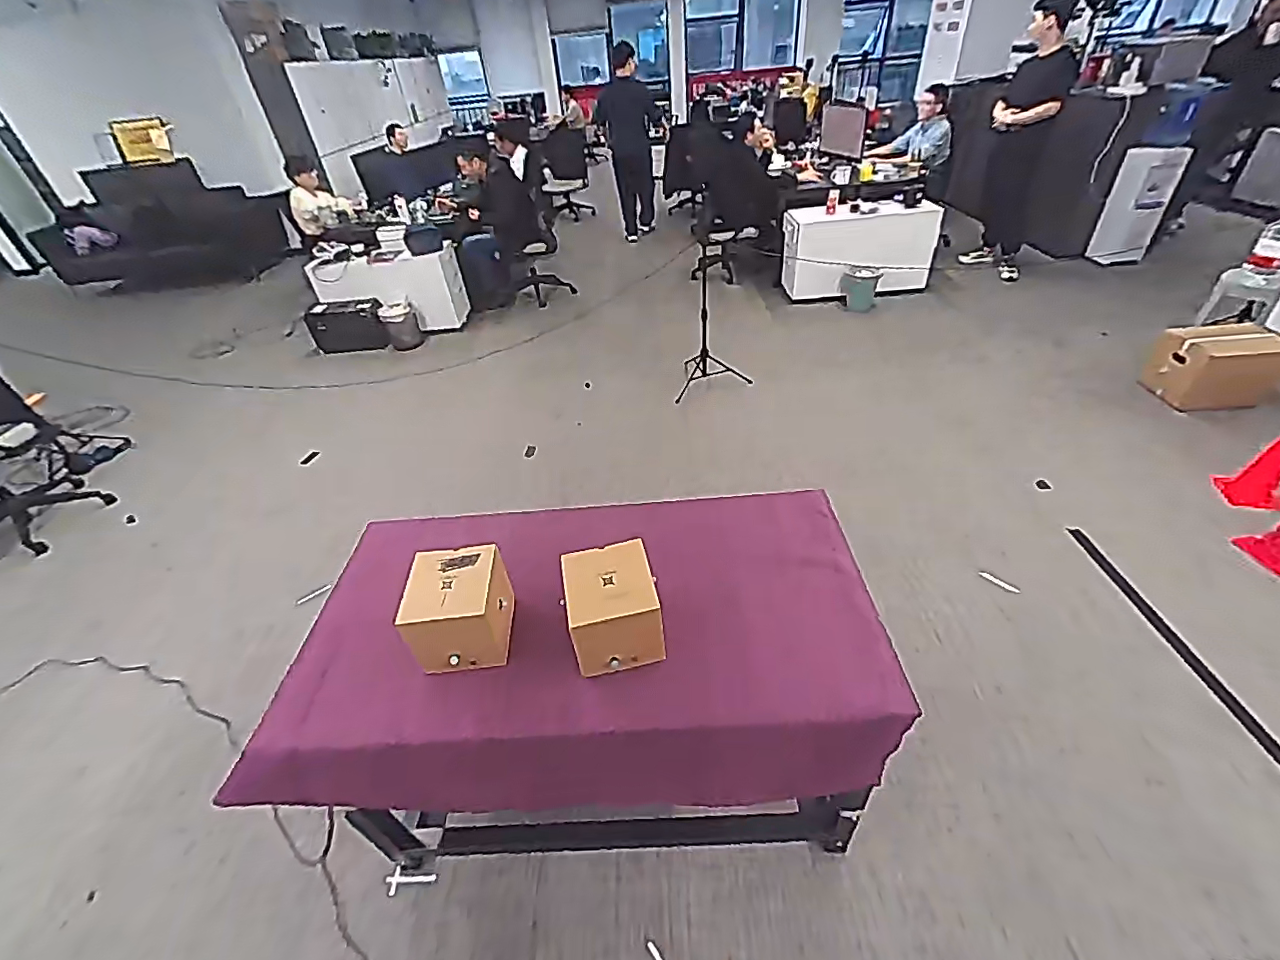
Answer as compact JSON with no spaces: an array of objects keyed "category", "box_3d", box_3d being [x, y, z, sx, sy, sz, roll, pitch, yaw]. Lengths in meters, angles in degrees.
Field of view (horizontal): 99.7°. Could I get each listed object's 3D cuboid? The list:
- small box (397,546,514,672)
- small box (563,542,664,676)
[{"category":"small box","box_3d":[-0.358,0.259,1.089,0.168,0.176,0.179,-7,39,0]},{"category":"small box","box_3d":[-0.053,0.251,1.061,0.168,0.176,0.179,-11,38,-5]}]
